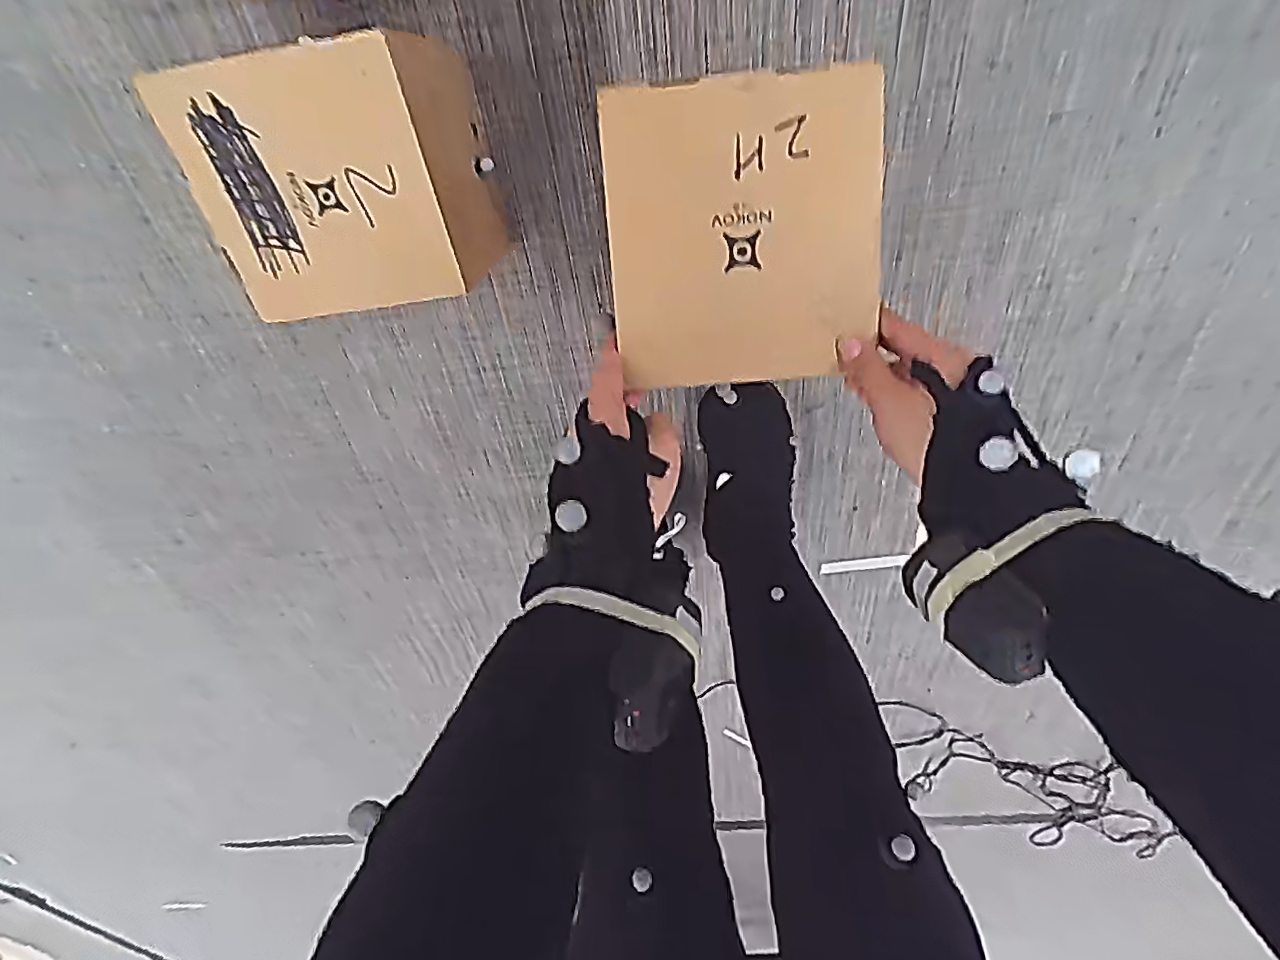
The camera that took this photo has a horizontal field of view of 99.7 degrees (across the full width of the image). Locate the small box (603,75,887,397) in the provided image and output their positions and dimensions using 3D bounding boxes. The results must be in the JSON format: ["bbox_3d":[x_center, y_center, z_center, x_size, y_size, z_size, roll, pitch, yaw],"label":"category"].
[{"bbox_3d":[0.066,-0.161,0.407,0.168,0.176,0.179,-4,103,1],"label":"small box"}]
